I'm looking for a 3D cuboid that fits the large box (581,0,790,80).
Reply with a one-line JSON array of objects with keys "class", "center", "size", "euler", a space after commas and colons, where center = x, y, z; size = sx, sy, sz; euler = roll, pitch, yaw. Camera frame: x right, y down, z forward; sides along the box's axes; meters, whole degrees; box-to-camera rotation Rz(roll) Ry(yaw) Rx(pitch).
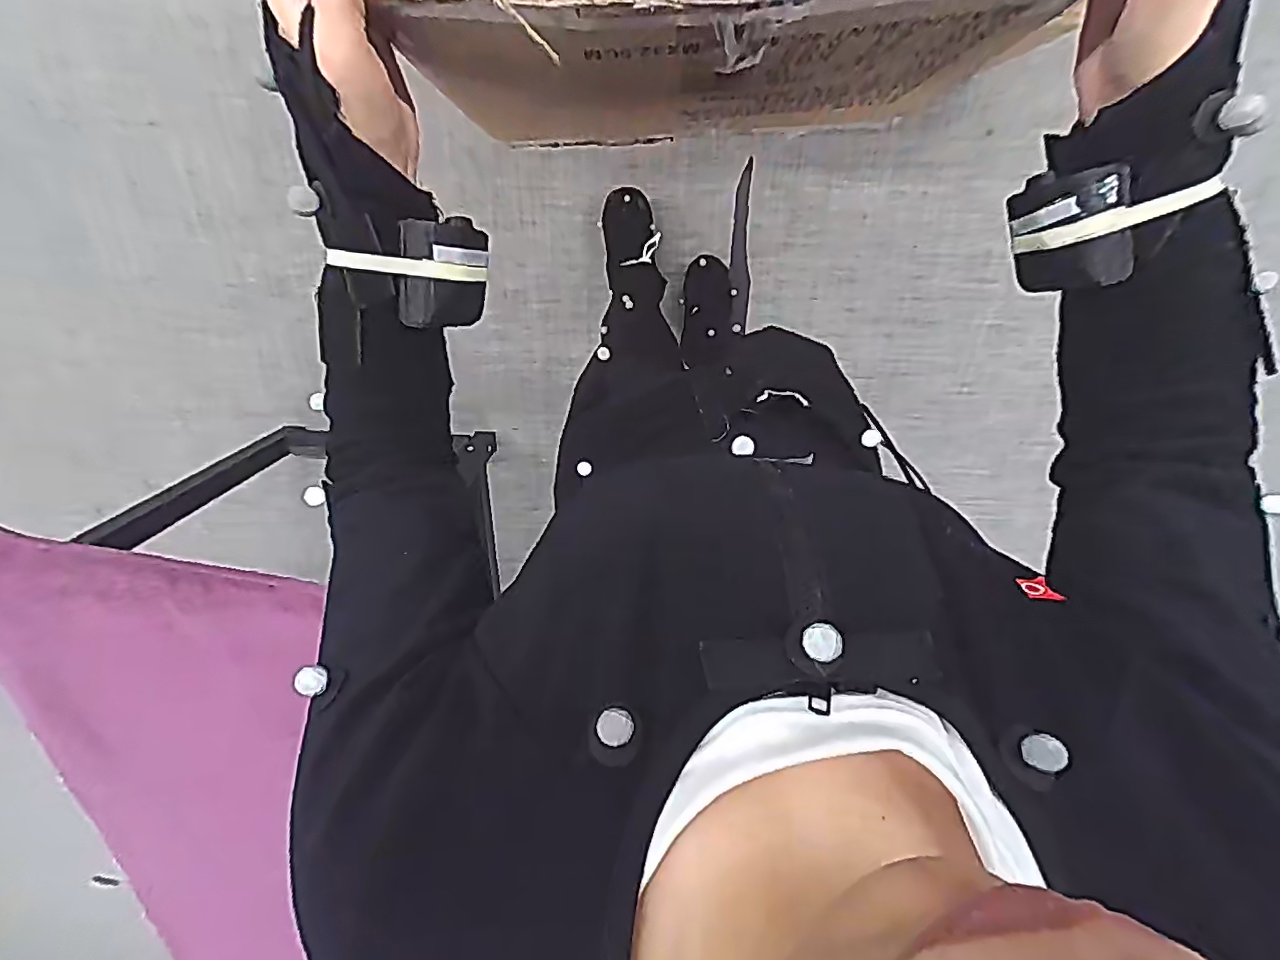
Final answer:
[{"class": "large box", "center": [0.067, -0.915, 0.858], "size": [0.320, 0.320, 0.408], "euler": [1, 116, 3]}]
